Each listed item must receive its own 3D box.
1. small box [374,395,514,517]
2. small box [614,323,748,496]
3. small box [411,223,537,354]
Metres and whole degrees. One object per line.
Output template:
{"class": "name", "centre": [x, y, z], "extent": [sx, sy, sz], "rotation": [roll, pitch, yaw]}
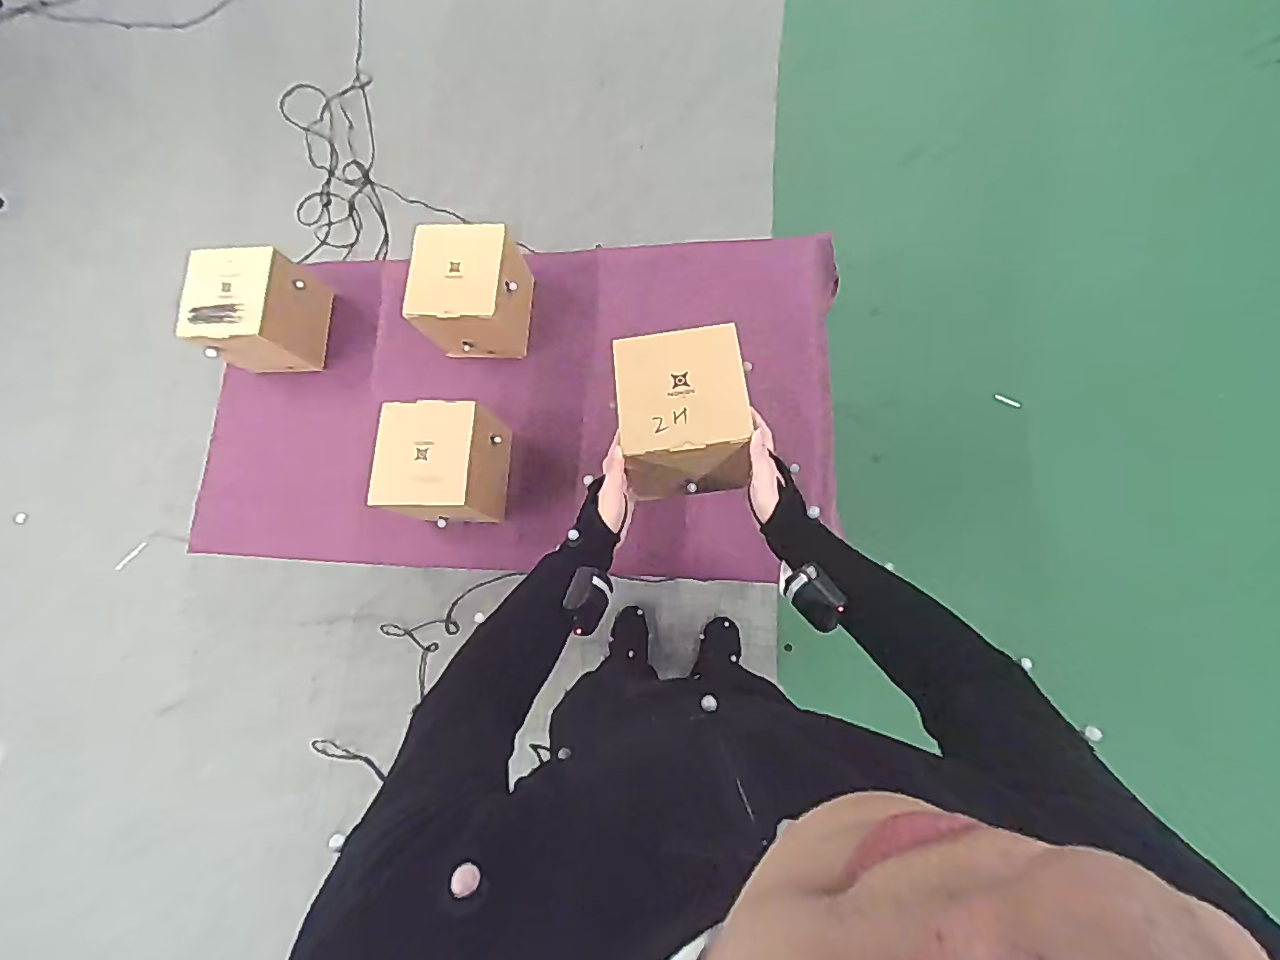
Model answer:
{"class": "small box", "centre": [-0.334, -0.038, 0.958], "extent": [0.168, 0.176, 0.179], "rotation": [1, 77, 9]}
{"class": "small box", "centre": [0.059, -0.092, 0.769], "extent": [0.168, 0.176, 0.179], "rotation": [-6, 68, 7]}
{"class": "small box", "centre": [-0.302, -0.357, 1.022], "extent": [0.168, 0.176, 0.179], "rotation": [3, 81, 8]}
